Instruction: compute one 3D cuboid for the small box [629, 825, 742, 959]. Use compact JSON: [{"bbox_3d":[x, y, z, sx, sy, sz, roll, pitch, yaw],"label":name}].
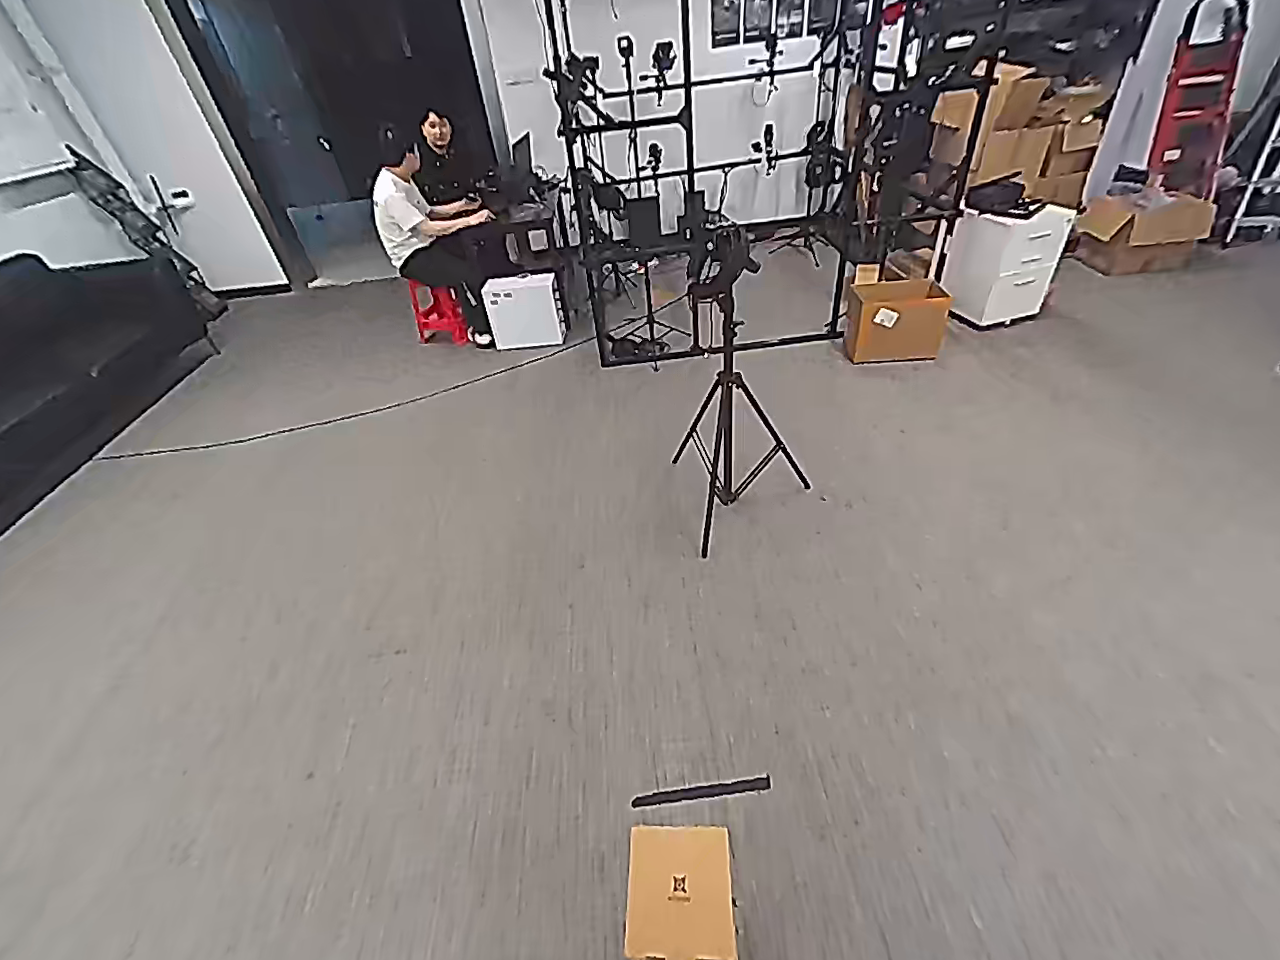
[{"bbox_3d":[0.076,0.703,0.897,0.168,0.176,0.179,-4,39,6],"label":"small box"}]
